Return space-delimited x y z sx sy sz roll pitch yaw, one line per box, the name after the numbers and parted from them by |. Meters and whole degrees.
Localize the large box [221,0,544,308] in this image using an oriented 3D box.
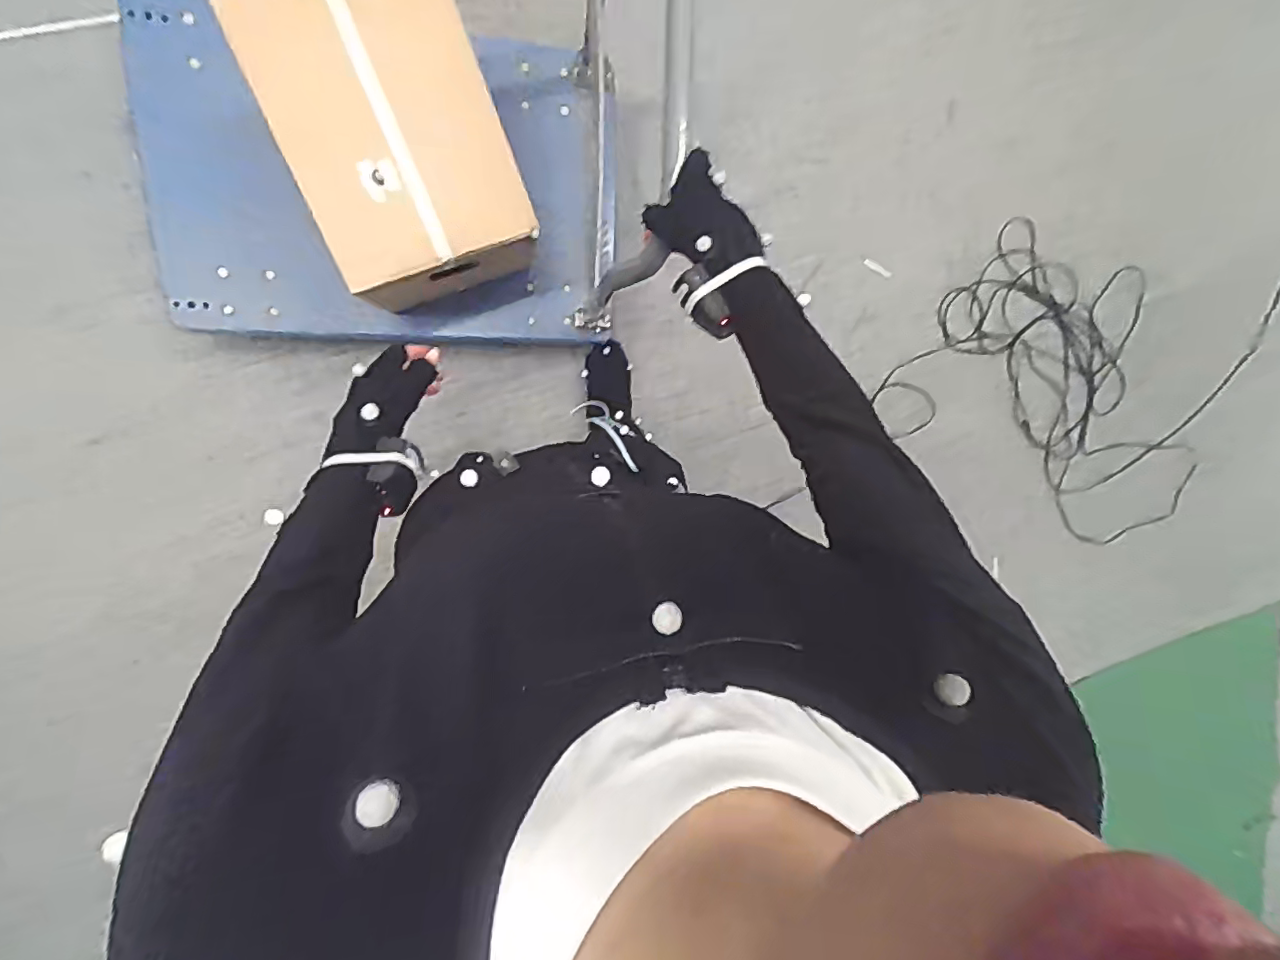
-0.399 -0.558 0.944 0.320 0.320 0.408 -23 107 -8 | large box
